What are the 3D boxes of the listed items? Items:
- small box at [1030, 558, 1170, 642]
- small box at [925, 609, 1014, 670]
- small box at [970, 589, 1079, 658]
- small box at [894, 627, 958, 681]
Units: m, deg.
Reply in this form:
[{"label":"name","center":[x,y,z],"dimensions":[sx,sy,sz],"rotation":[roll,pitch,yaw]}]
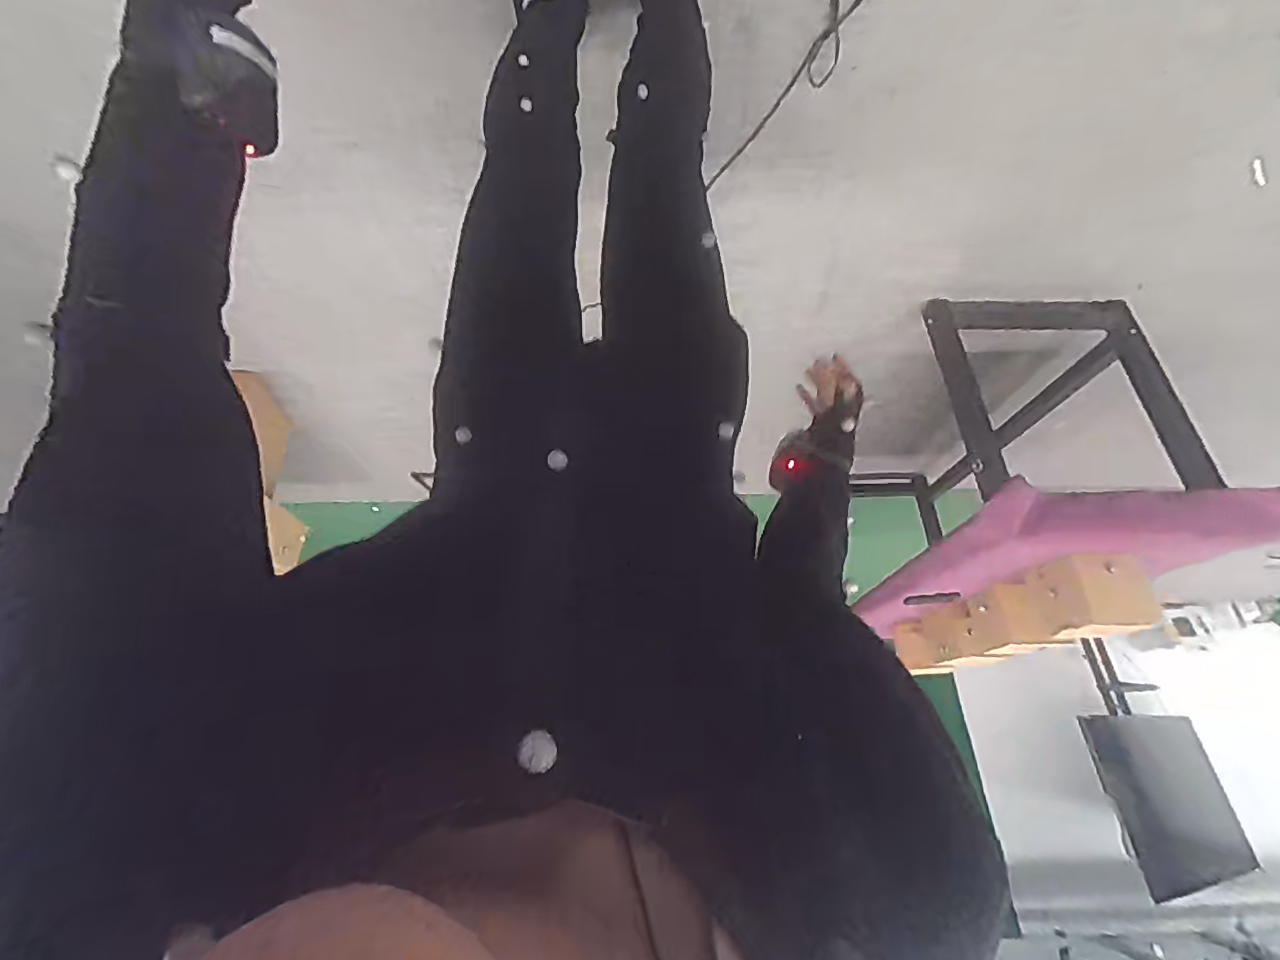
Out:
[{"label":"small box","center":[1.103,0.292,1.316],"dimensions":[0.179,0.176,0.168],"rotation":[1,154,-3]},{"label":"small box","center":[1.077,0.528,1.787],"dimensions":[0.168,0.176,0.179],"rotation":[2,153,-5]},{"label":"small box","center":[1.095,0.413,1.555],"dimensions":[0.179,0.176,0.168],"rotation":[-1,153,2]},{"label":"small box","center":[1.060,0.645,2.018],"dimensions":[0.168,0.176,0.179],"rotation":[-10,152,16]}]
